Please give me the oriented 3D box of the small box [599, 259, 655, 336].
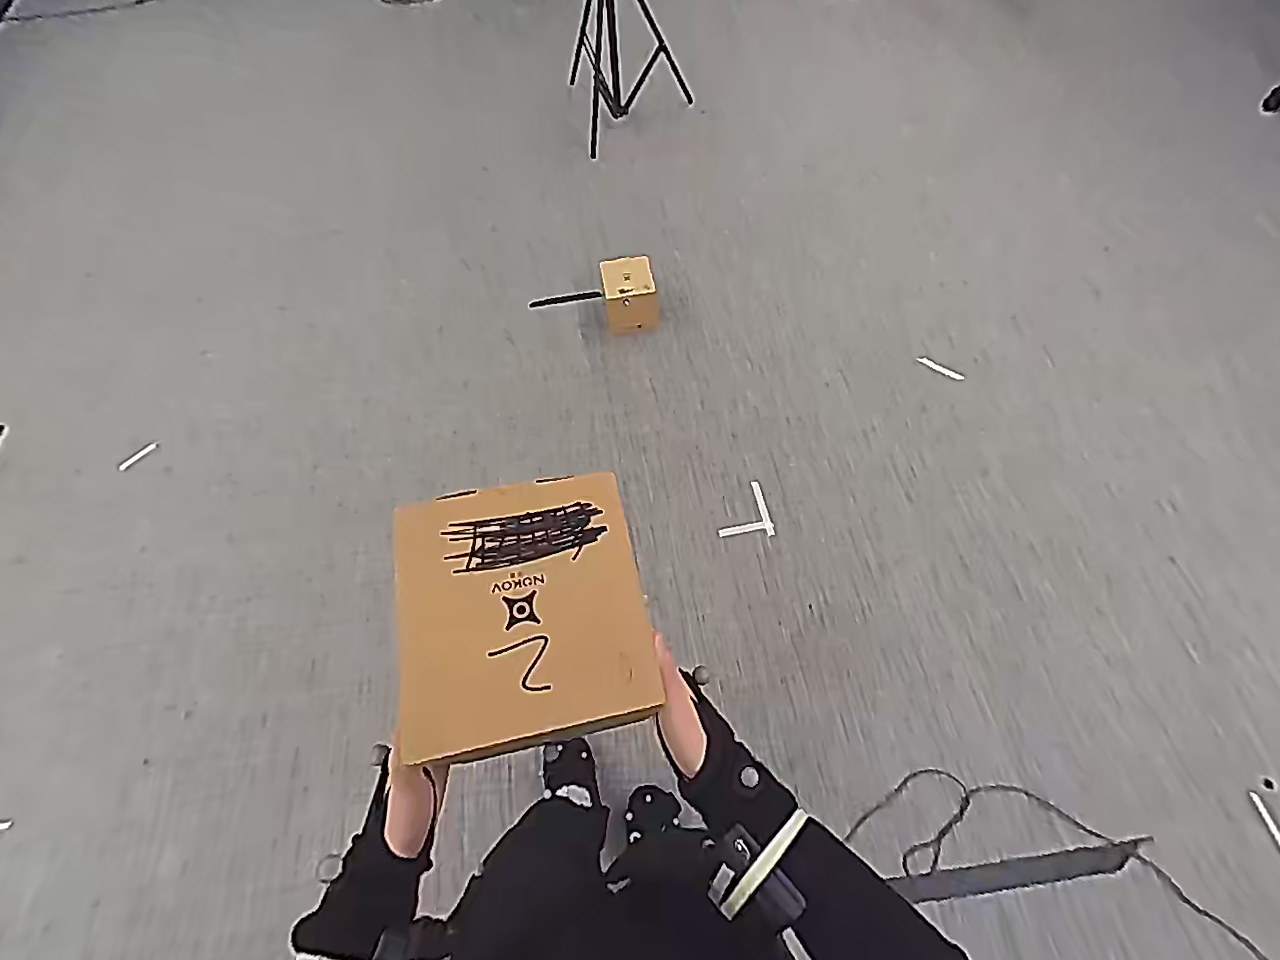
[{"bbox_3d":[-0.044,-0.625,1.857,0.168,0.176,0.179,-10,61,-3],"label":"small box"}]
